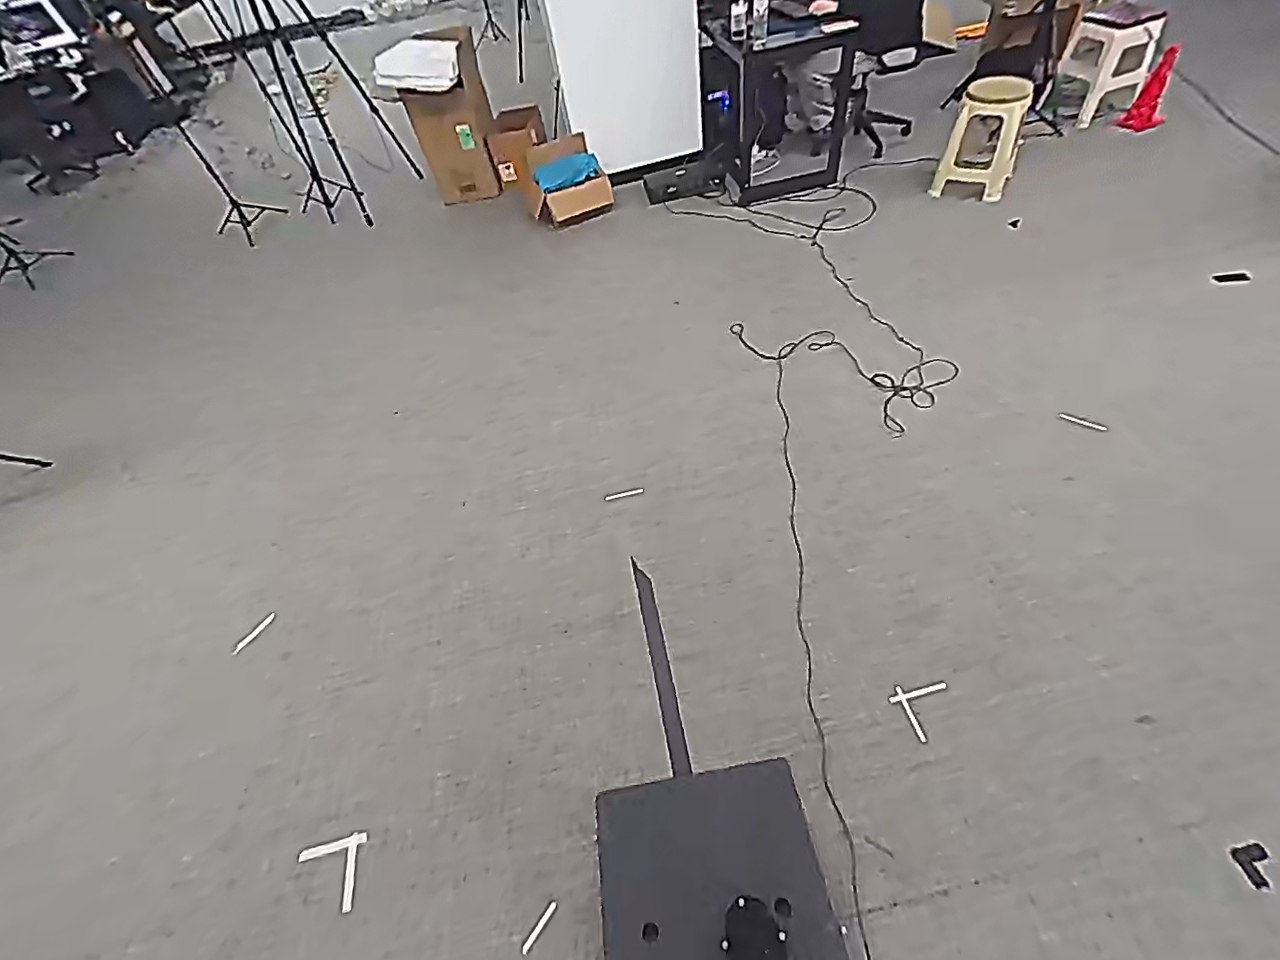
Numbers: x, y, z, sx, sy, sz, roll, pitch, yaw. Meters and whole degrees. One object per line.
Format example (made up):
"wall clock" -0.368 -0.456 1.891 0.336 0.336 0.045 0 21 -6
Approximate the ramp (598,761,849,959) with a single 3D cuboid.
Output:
"ramp" 0.185 1.069 0.980 0.509 0.206 0.991 -14 50 1
